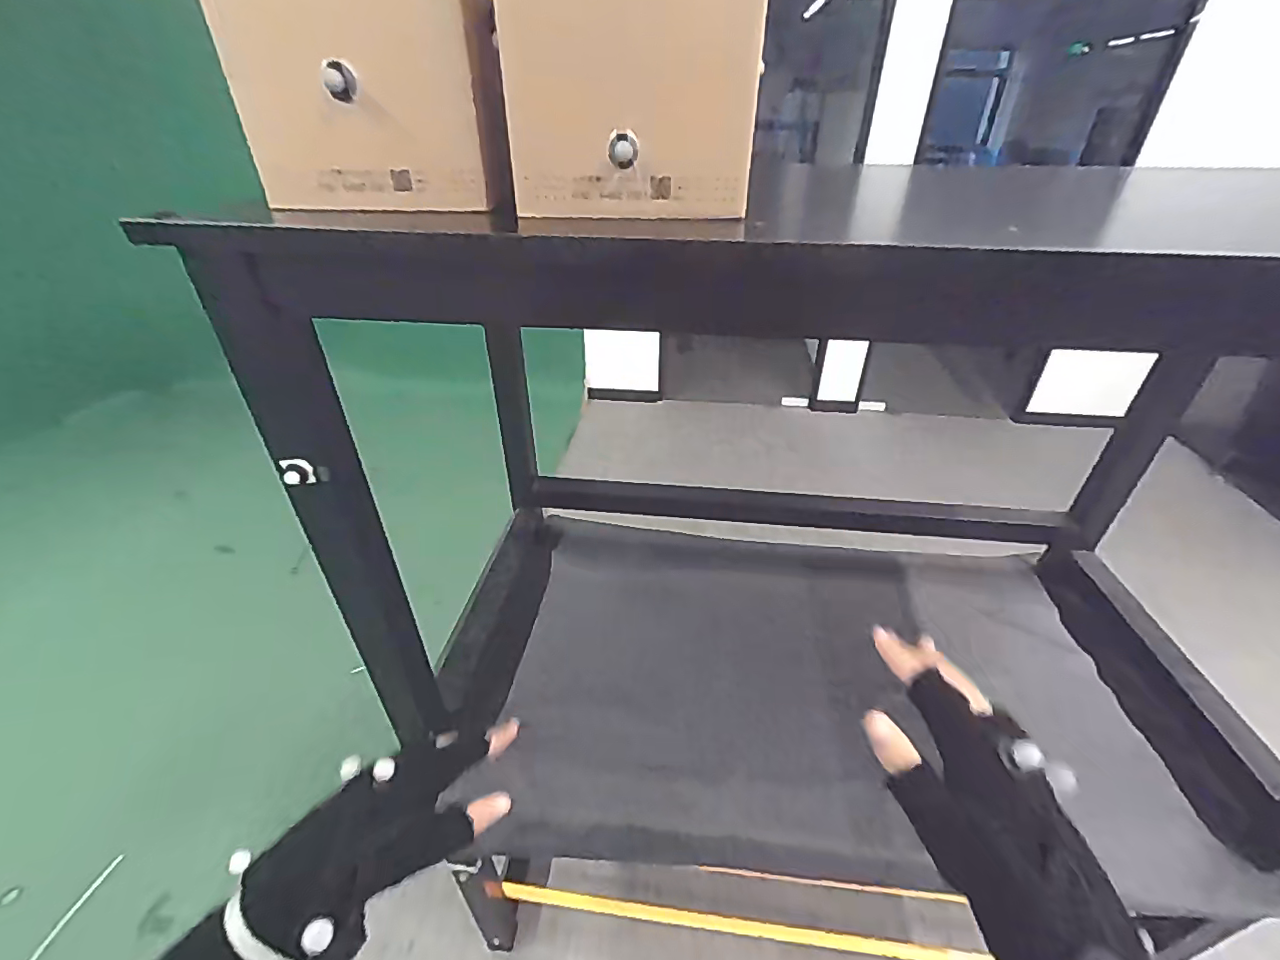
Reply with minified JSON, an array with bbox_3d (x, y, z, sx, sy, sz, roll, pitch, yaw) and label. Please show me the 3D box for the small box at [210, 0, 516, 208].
[{"bbox_3d":[-0.204,-0.328,0.448,0.168,0.176,0.179,1,33,-1],"label":"small box"}]
